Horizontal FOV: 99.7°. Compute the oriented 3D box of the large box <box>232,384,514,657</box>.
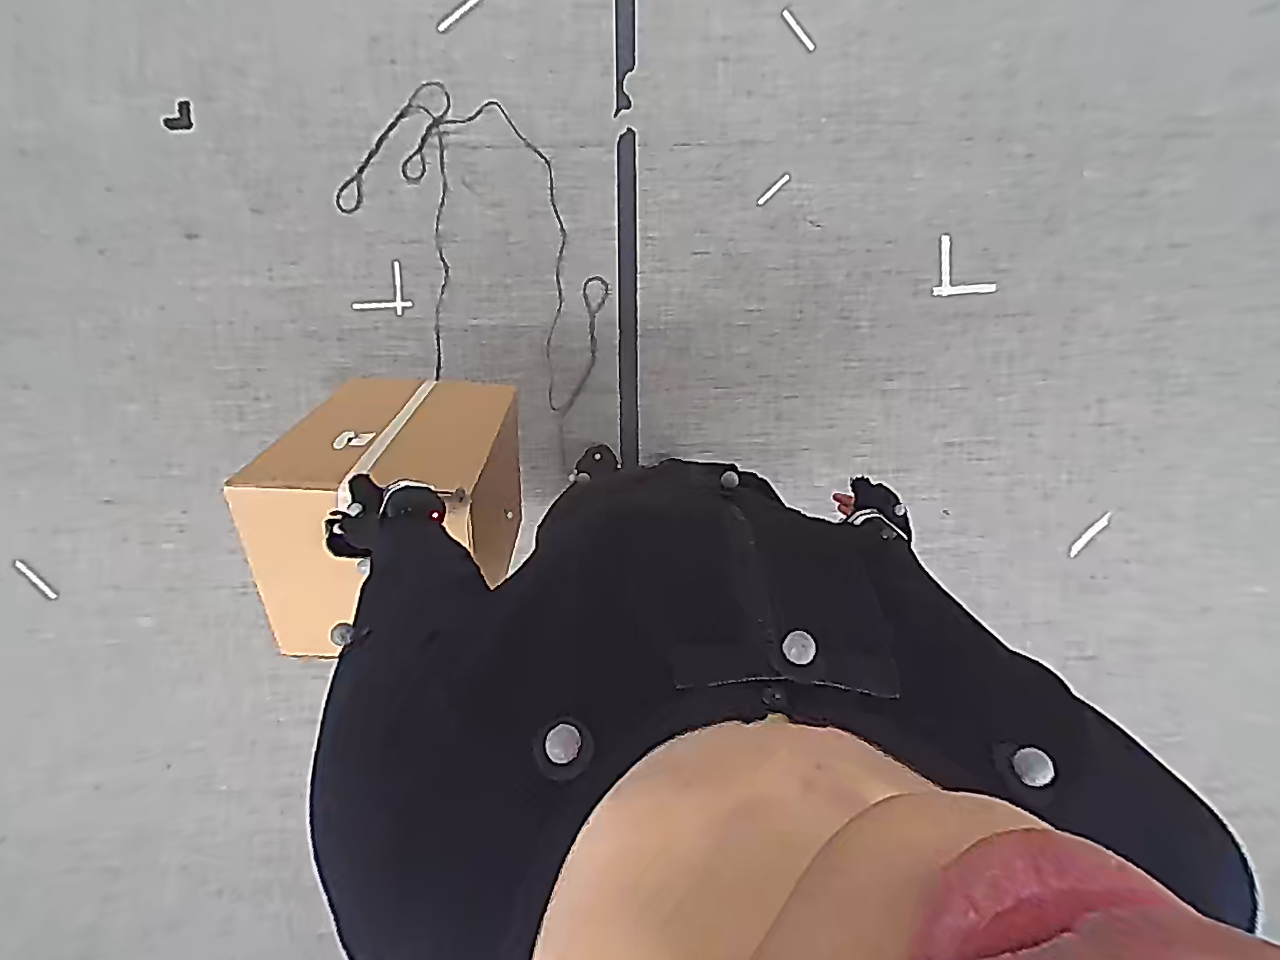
[{"bbox_3d":[-0.404,0.053,0.954,0.320,0.408,0.320,1,120,-4],"label":"large box"}]
